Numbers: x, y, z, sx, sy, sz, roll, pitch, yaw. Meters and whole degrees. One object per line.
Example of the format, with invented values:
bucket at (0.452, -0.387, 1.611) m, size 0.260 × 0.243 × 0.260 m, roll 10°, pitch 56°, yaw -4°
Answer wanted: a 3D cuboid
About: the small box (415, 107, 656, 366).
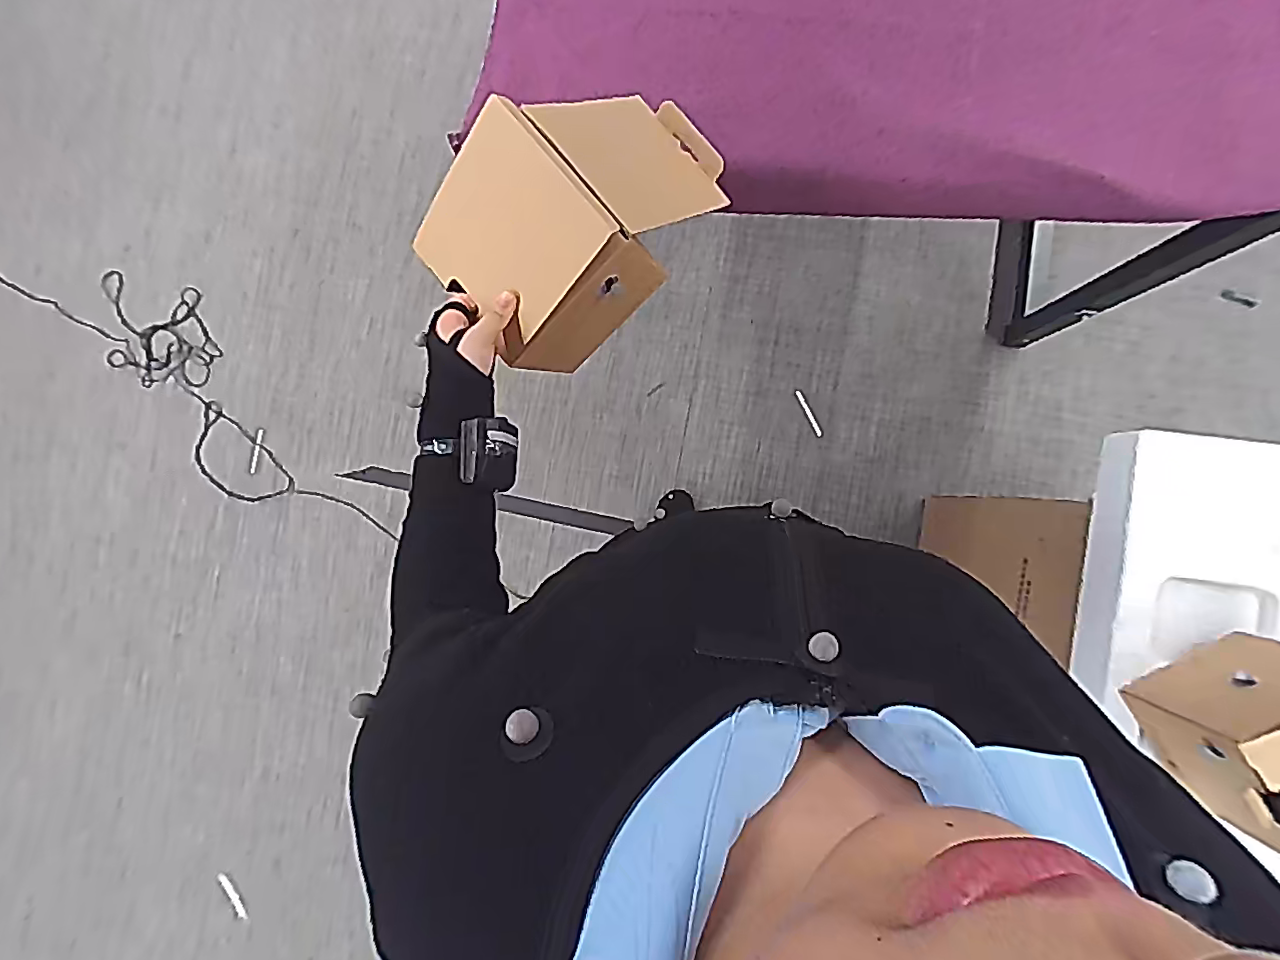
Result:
small box at (-0.099, -0.247, 0.601) m, size 0.179 × 0.176 × 0.168 m, roll -40°, pitch 85°, yaw 17°
